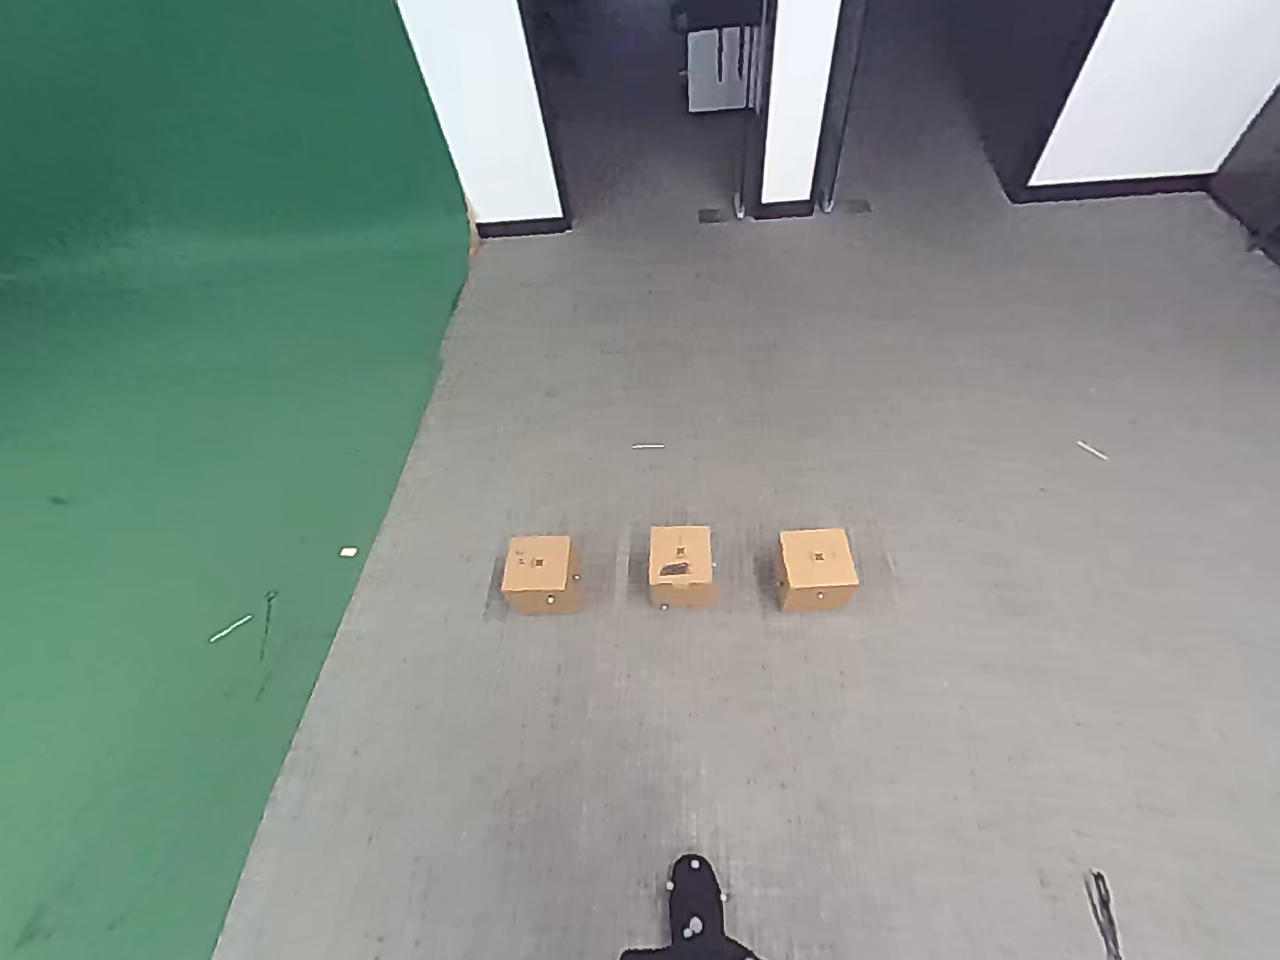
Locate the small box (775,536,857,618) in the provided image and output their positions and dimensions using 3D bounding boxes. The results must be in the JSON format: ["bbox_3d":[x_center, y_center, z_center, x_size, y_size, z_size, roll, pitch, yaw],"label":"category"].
[{"bbox_3d":[0.467,0.267,1.470,0.179,0.176,0.168,-3,54,4],"label":"small box"}]

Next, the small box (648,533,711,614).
[{"bbox_3d":[0.115,0.264,1.514,0.168,0.176,0.179,-1,53,6],"label":"small box"}]

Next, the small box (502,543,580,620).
[{"bbox_3d":[-0.272,0.292,1.541,0.179,0.176,0.168,-2,53,5],"label":"small box"}]
